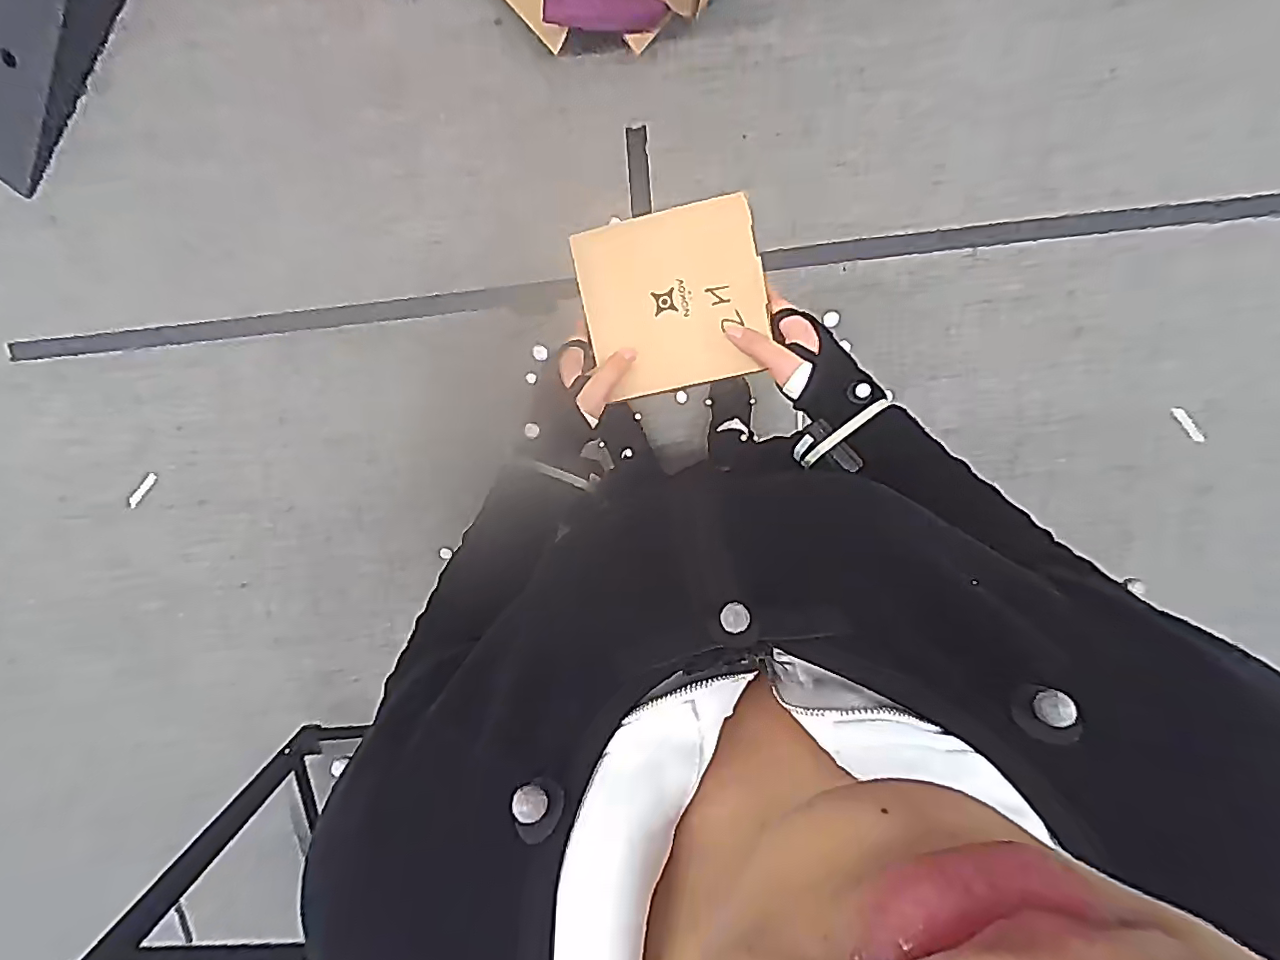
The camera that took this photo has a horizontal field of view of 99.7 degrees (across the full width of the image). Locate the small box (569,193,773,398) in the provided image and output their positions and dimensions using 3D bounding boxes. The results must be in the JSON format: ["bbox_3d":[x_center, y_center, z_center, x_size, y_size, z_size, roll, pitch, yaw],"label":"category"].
[{"bbox_3d":[0.037,-0.186,0.601,0.179,0.176,0.168,-11,99,6],"label":"small box"}]
